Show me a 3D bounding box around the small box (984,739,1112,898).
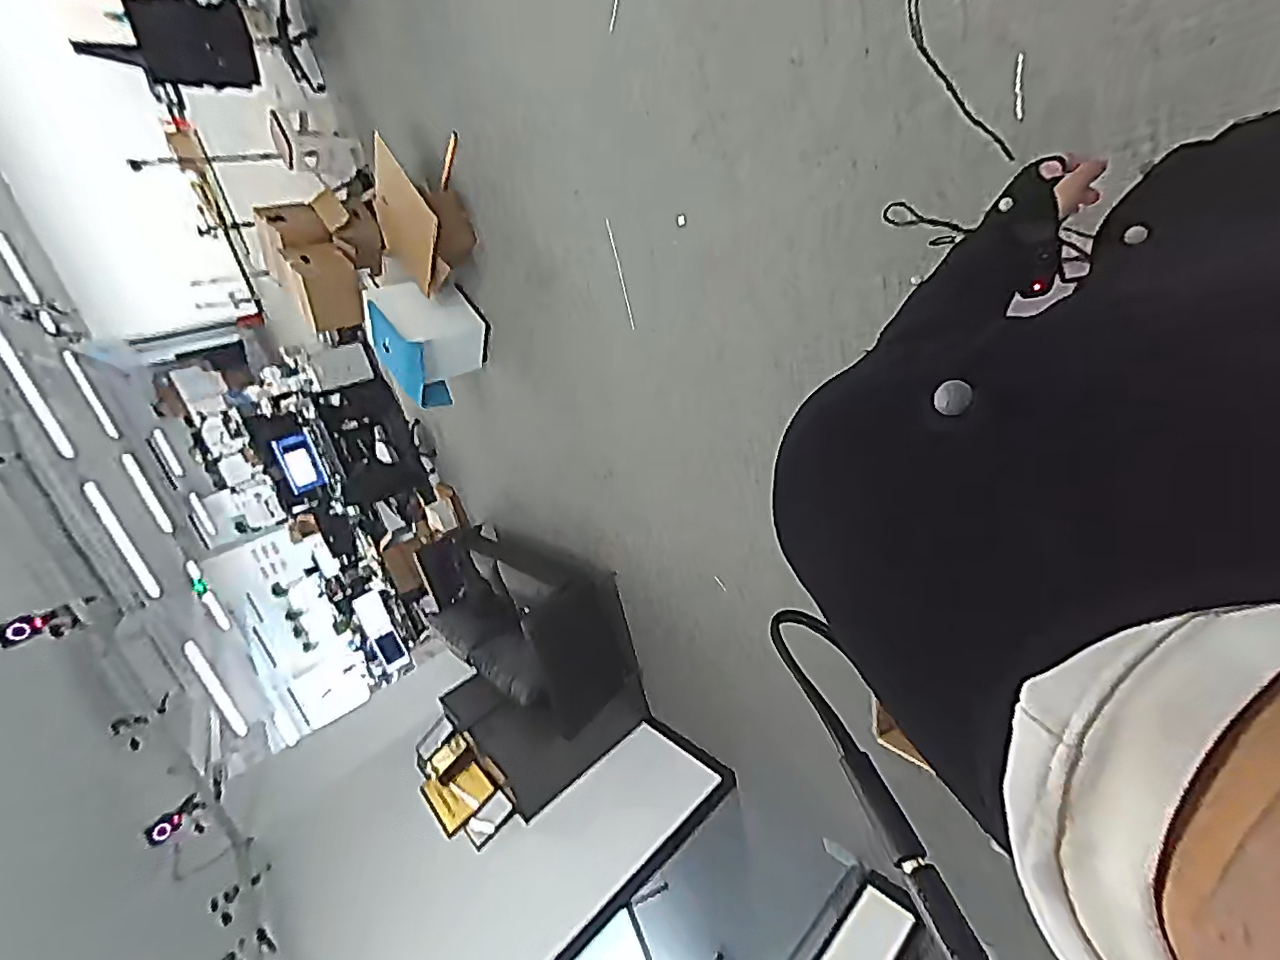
[{"bbox_3d":[0.826,0.673,1.098,0.168,0.176,0.179,16,123,48],"label":"small box"}]
